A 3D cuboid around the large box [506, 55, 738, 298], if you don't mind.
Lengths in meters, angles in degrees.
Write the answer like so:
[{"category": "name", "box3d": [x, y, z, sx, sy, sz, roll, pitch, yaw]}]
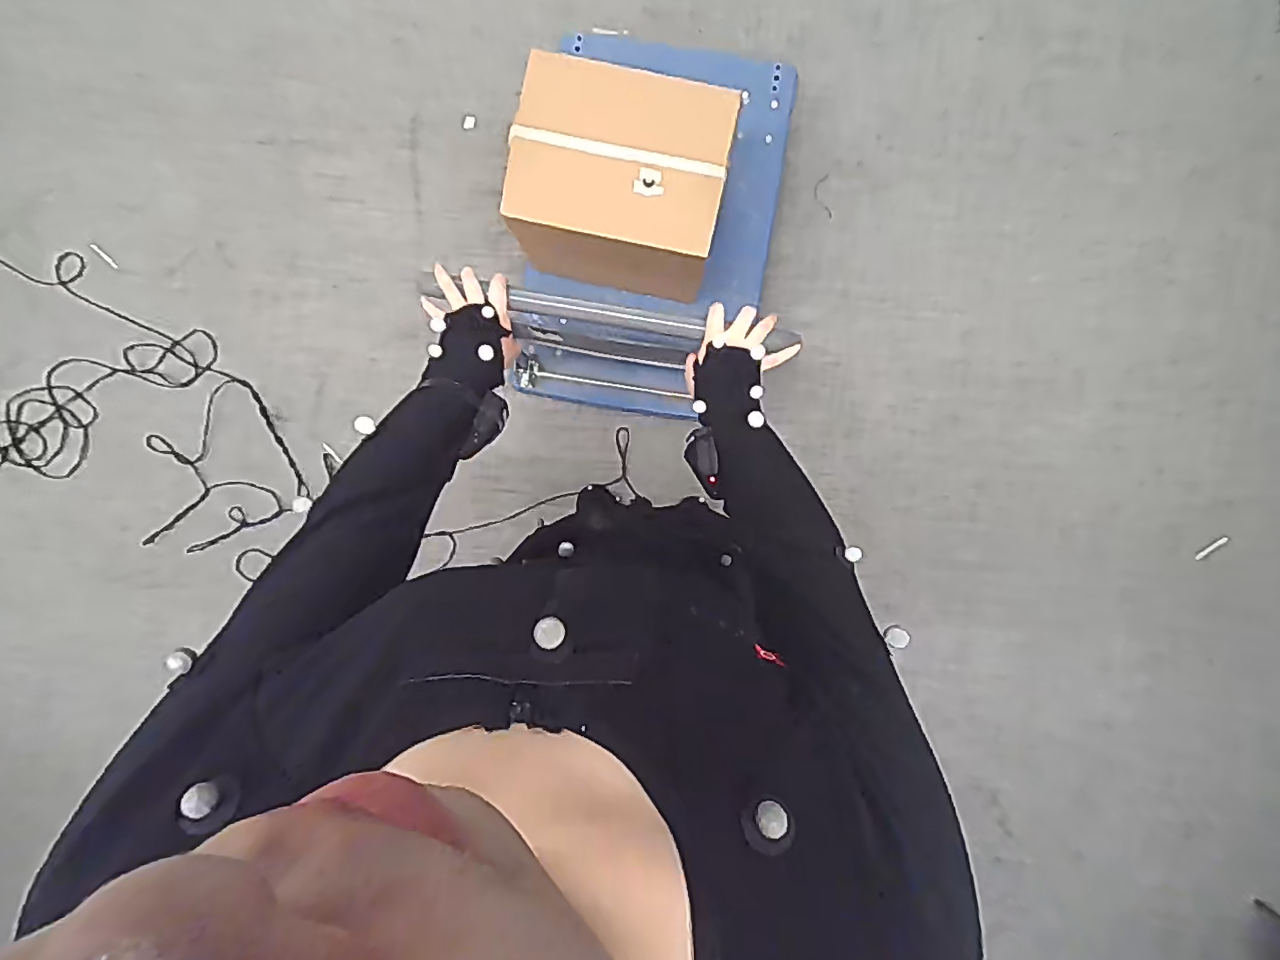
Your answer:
[{"category": "large box", "box3d": [-0.038, -0.625, 1.176, 0.408, 0.320, 0.320, 12, 93, -1]}]
